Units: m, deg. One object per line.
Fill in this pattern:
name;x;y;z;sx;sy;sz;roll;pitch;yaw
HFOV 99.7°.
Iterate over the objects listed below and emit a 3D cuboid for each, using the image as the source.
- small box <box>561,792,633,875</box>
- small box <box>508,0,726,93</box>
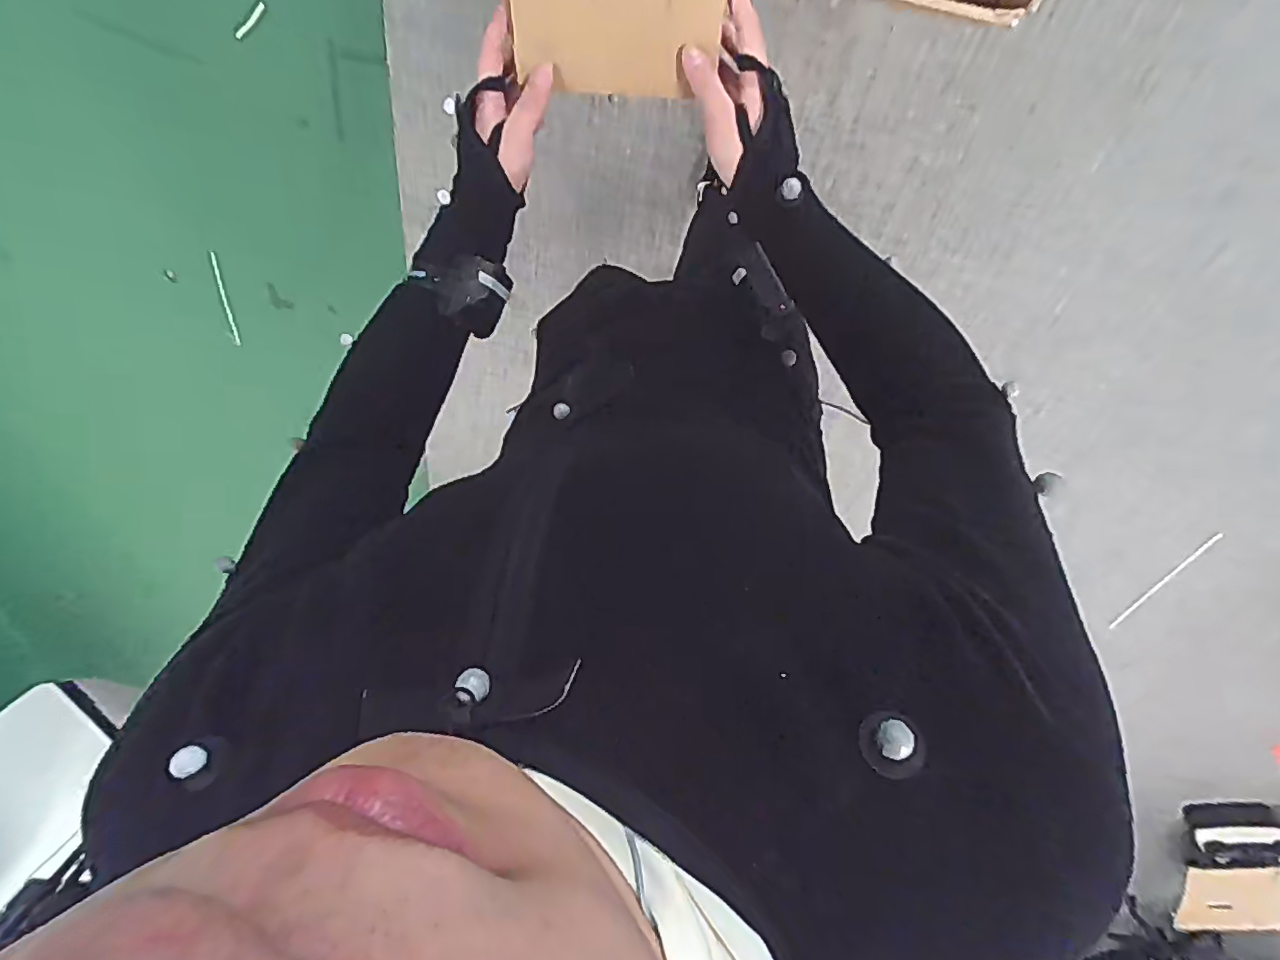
small box;-0.138;1.159;1.782;0.179;0.176;0.168;21;129;-2
small box;-0.011;-0.452;0.461;0.179;0.176;0.168;5;136;1
